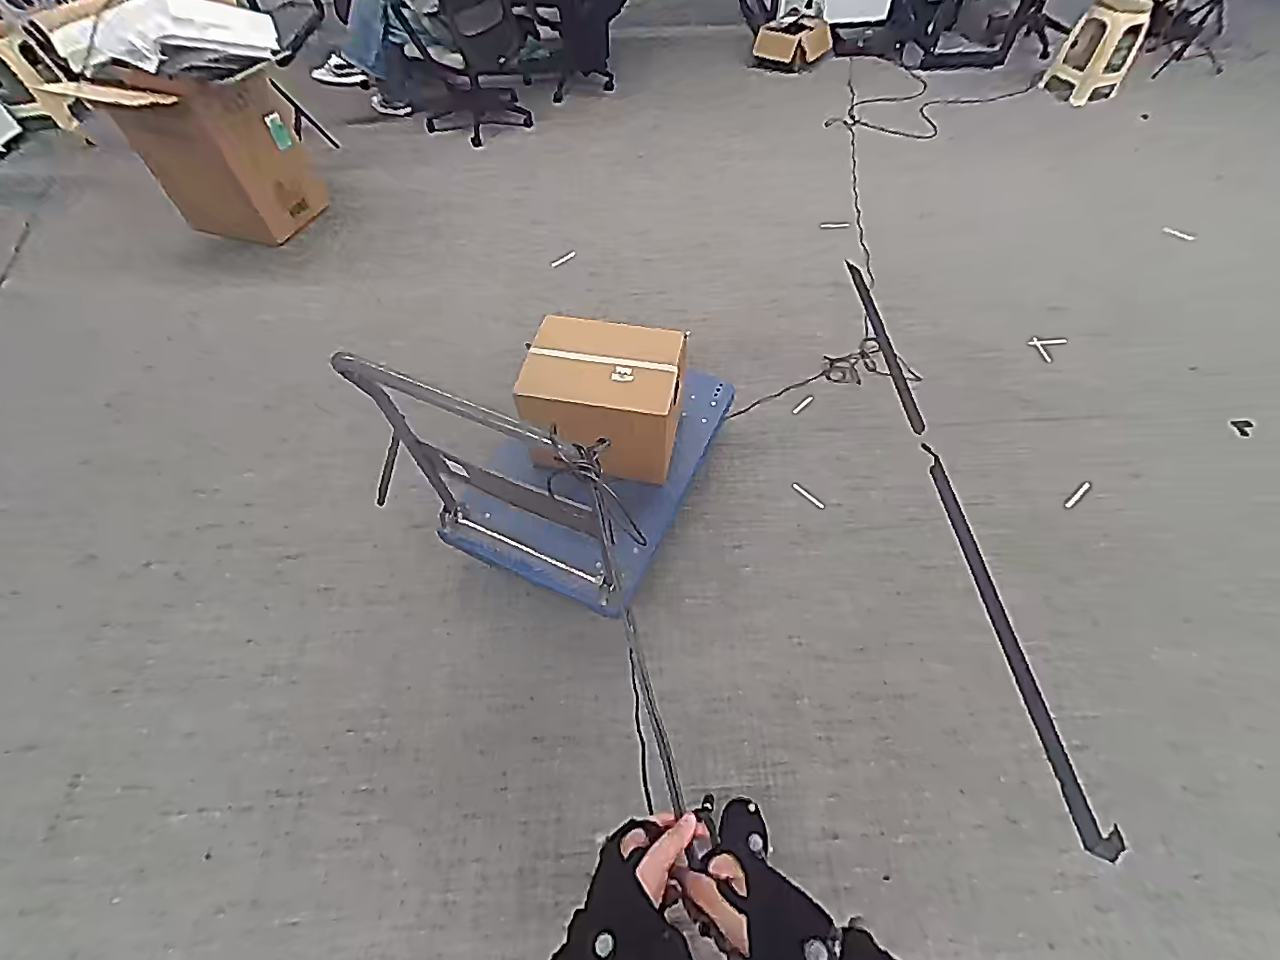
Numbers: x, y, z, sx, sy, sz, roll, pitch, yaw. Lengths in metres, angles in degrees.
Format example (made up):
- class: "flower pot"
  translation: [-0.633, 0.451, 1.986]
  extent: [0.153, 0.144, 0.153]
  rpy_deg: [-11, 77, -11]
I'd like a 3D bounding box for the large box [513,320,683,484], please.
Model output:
- class: "large box"
  translation: [-0.104, -0.218, 1.545]
  extent: [0.408, 0.320, 0.320]
  rpy_deg: [9, 57, 6]
